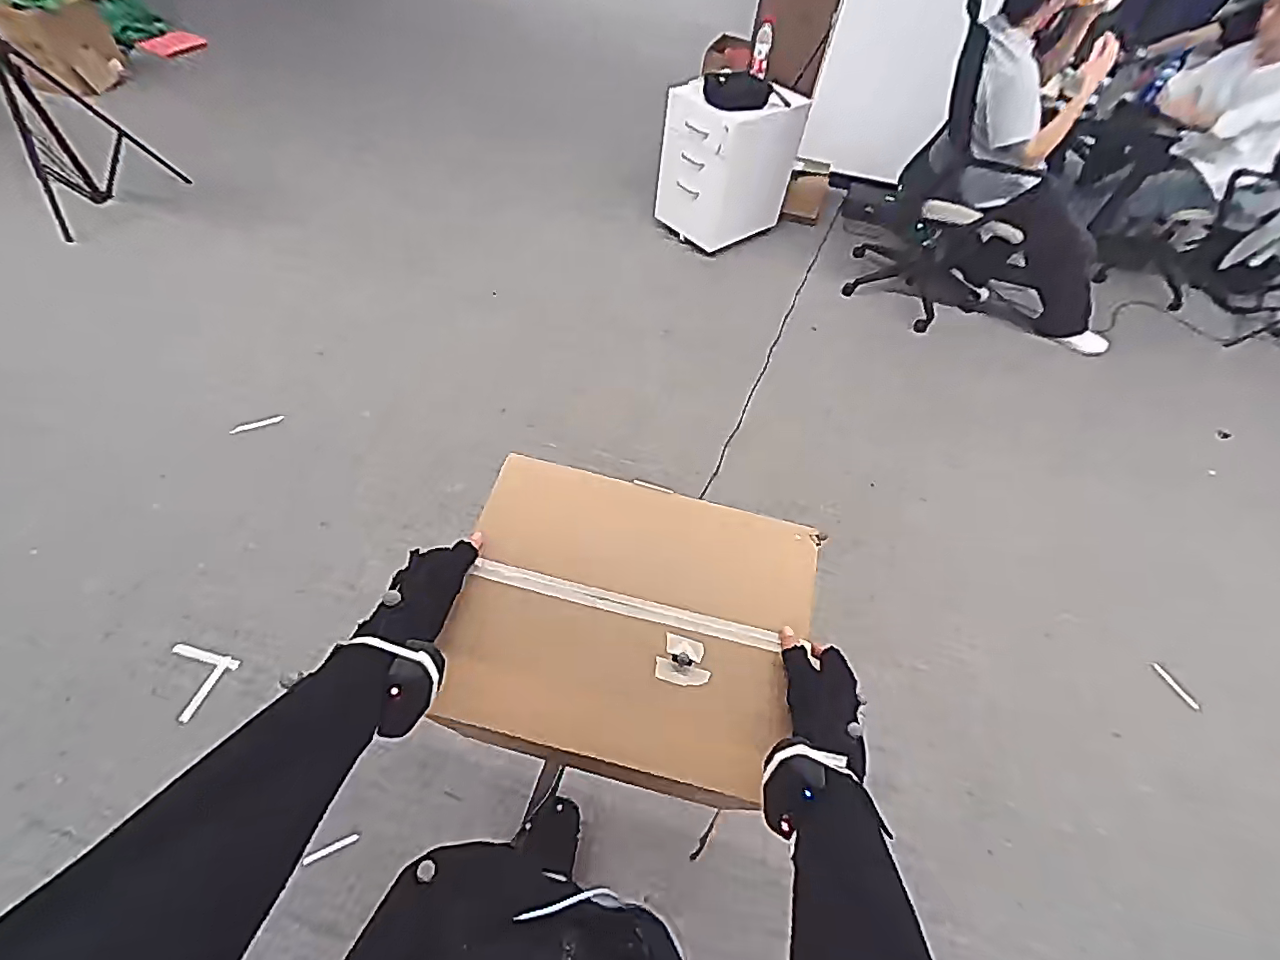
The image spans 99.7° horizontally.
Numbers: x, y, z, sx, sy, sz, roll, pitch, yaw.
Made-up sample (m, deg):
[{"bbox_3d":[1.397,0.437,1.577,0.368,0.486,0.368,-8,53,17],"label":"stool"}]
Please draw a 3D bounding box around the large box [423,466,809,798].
[{"bbox_3d":[-0.021,0.225,0.758,0.408,0.320,0.320,14,60,2],"label":"large box"}]
